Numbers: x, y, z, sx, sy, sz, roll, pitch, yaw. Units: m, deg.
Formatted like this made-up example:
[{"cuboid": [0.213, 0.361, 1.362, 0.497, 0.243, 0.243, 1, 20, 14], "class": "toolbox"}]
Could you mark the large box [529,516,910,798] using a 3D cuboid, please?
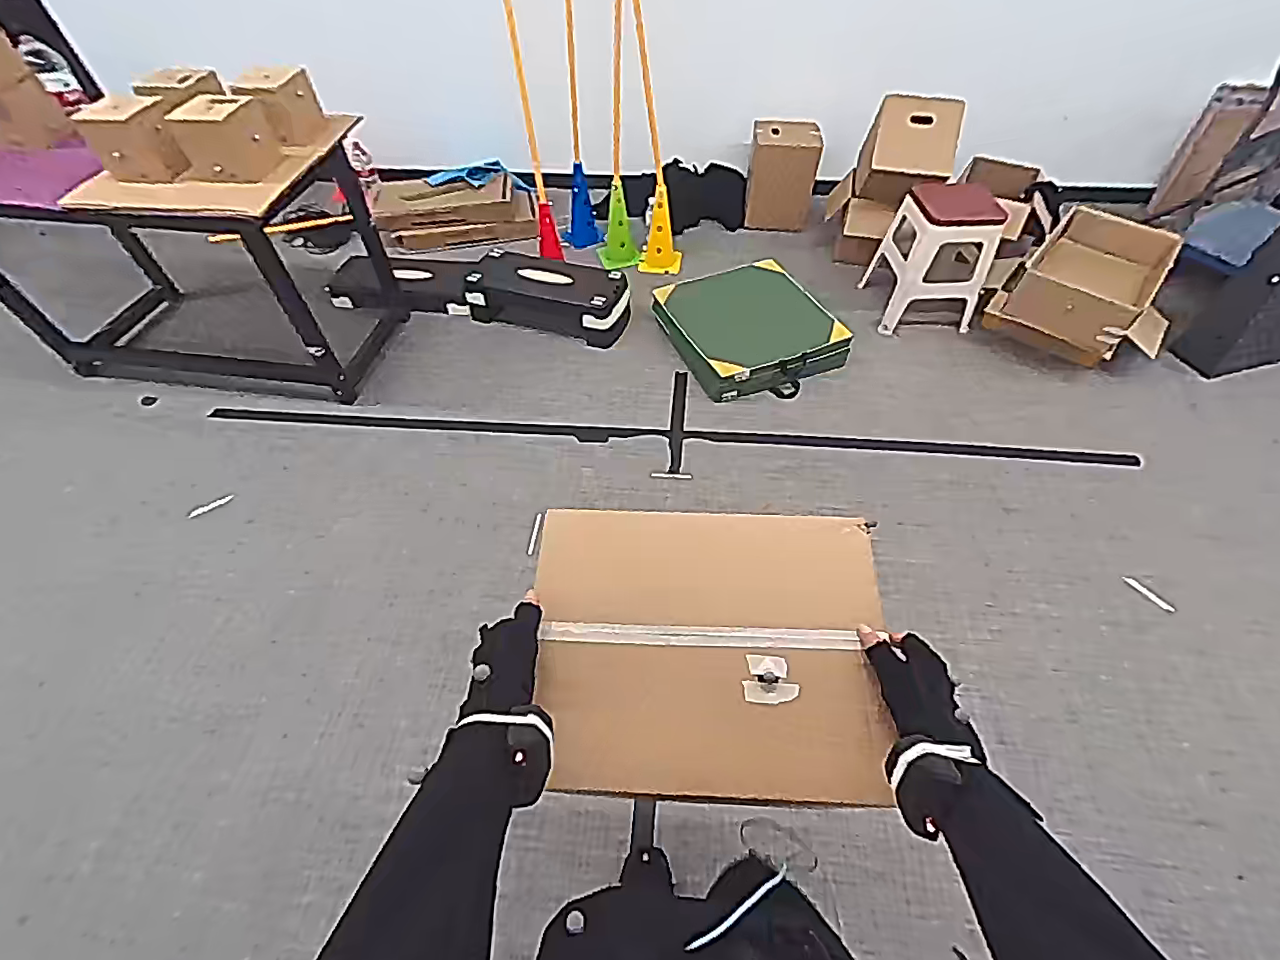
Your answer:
[{"cuboid": [0.086, 0.259, 0.759, 0.408, 0.320, 0.320, 2, 60, 2], "class": "large box"}]
